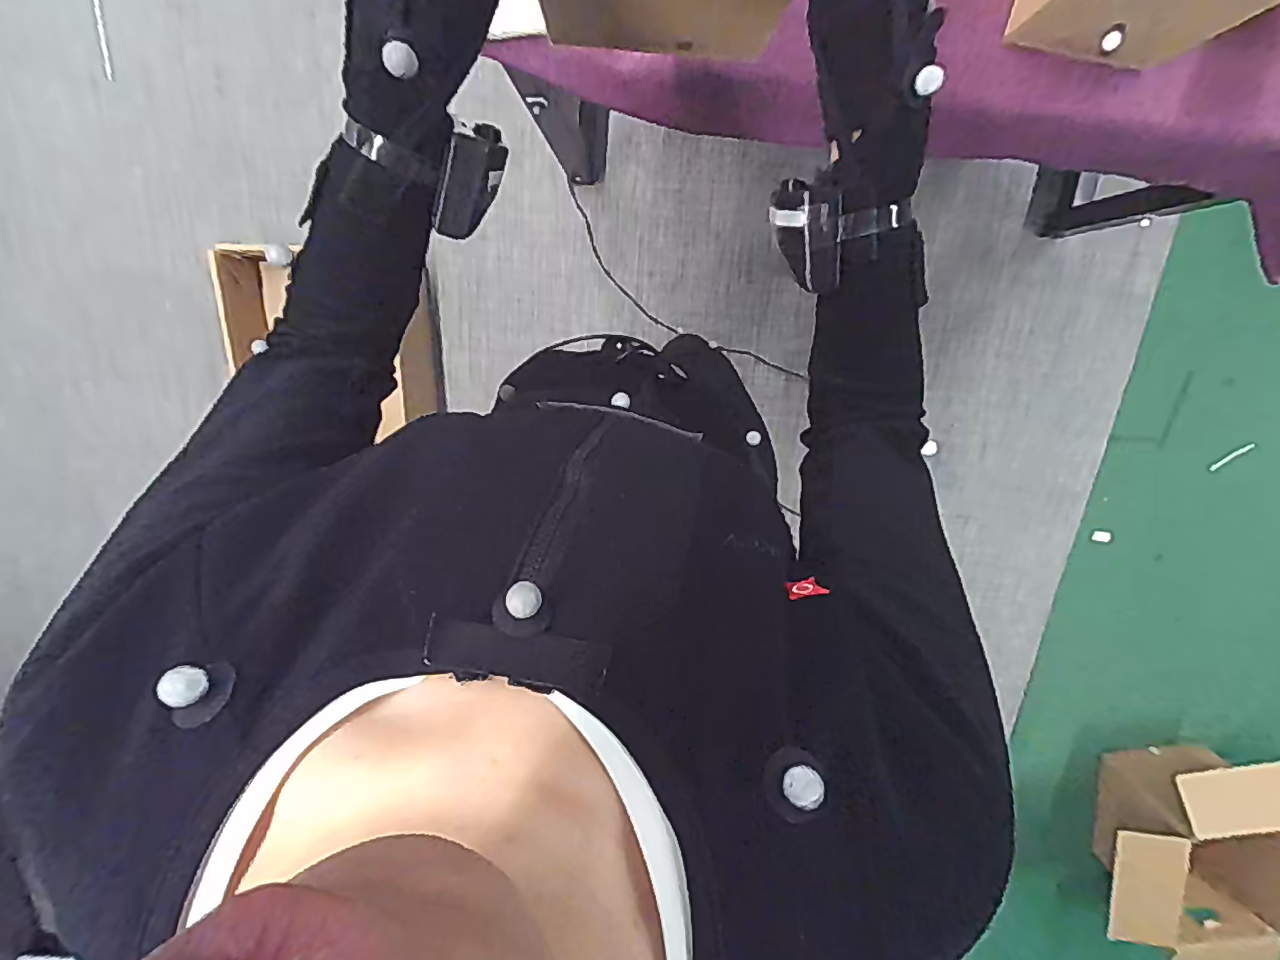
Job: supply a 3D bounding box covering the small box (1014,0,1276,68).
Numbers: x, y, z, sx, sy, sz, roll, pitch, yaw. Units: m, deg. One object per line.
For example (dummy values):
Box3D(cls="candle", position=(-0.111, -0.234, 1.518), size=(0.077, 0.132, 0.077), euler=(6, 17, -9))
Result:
Box3D(cls="small box", position=(0.485, -0.521, 0.484), size=(0.168, 0.176, 0.179), euler=(11, 106, -2))
